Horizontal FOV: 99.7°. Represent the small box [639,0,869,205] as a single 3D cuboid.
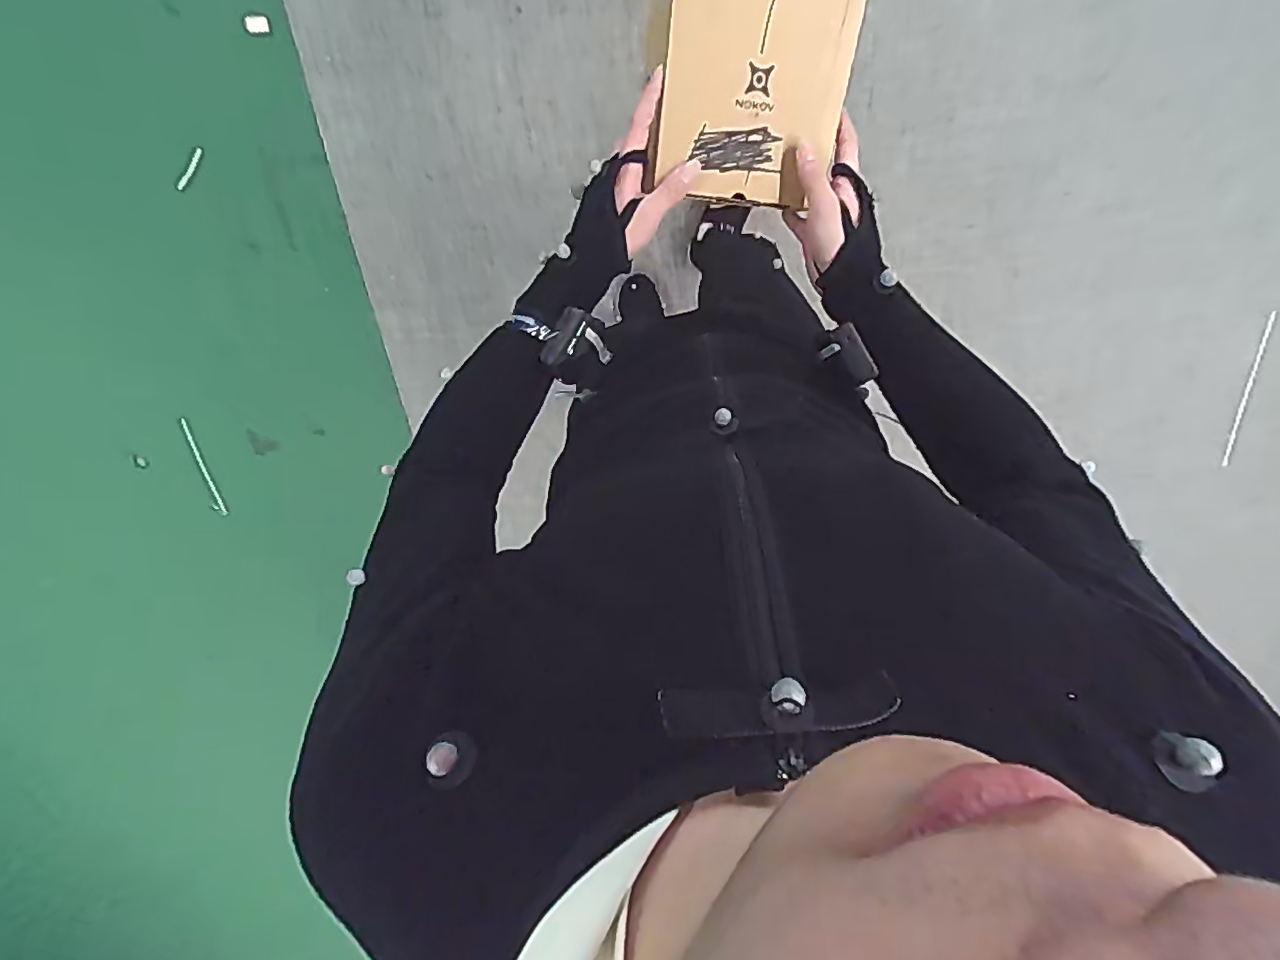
[{"bbox_3d":[0.094,-0.381,0.538,0.168,0.176,0.179,2,117,-9],"label":"small box"}]
